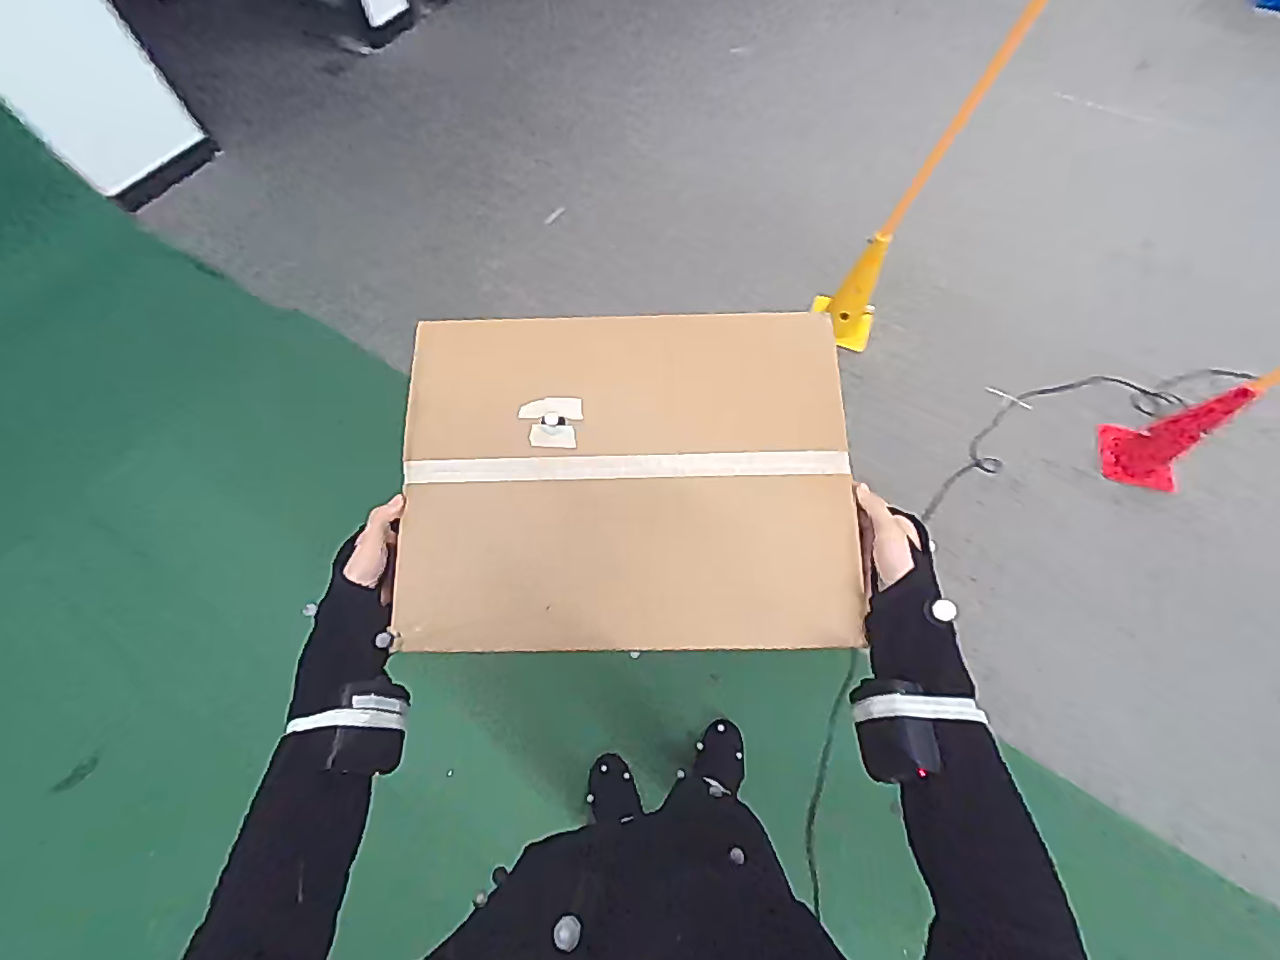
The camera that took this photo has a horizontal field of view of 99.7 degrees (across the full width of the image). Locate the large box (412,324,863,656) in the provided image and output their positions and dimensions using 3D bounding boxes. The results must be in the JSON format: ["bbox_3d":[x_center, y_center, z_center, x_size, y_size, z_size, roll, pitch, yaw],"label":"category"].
[{"bbox_3d":[0.000,0.036,0.651,0.408,0.320,0.320,-1,75,3],"label":"large box"}]
